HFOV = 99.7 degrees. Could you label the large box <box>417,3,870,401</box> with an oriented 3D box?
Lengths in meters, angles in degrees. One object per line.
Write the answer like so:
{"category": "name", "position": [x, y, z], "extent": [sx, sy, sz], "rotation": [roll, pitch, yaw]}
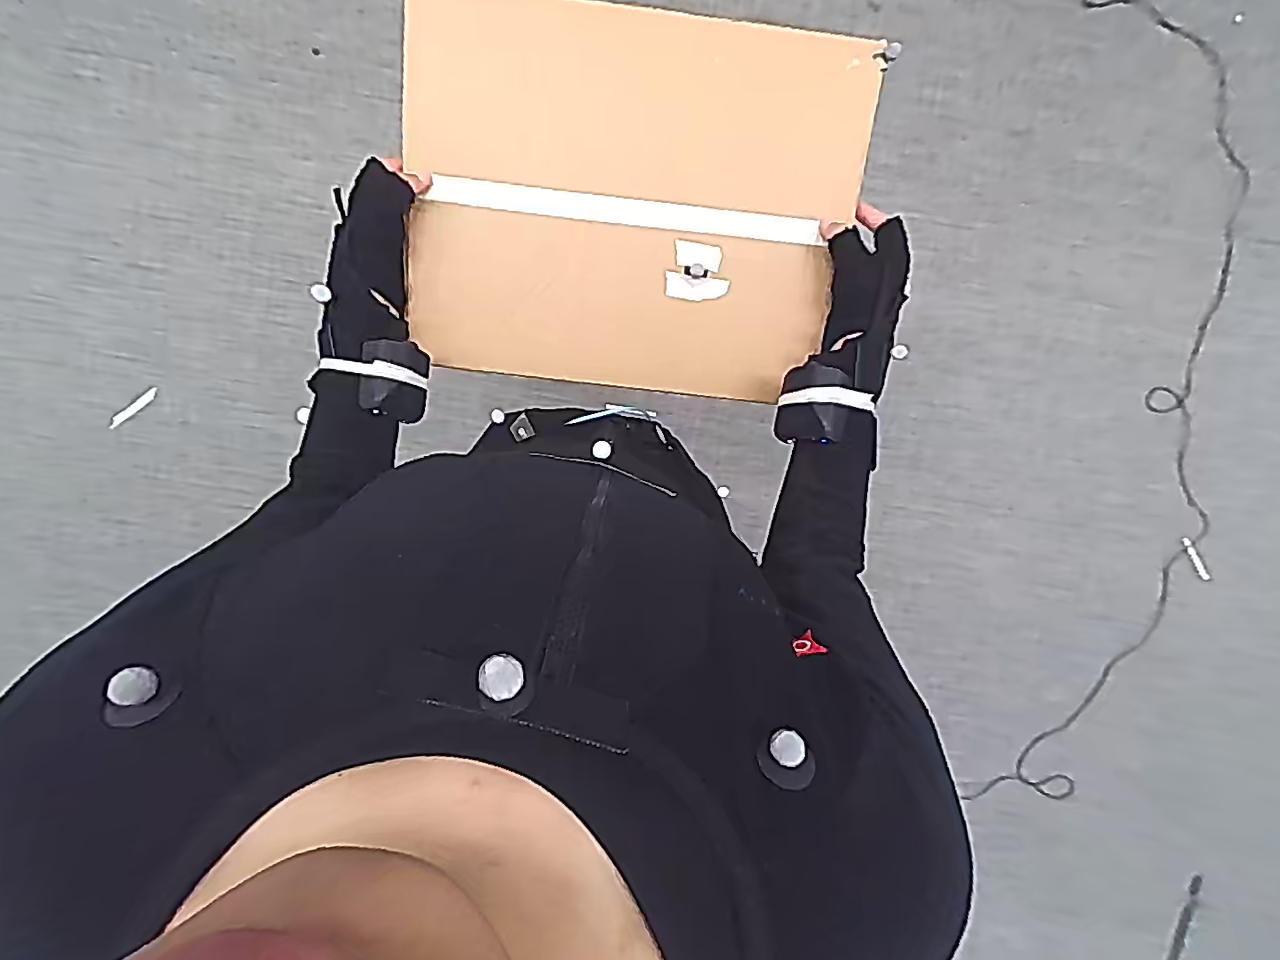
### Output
{"category": "large box", "position": [-0.012, -0.280, 0.648], "extent": [0.408, 0.320, 0.320], "rotation": [6, 105, -3]}
